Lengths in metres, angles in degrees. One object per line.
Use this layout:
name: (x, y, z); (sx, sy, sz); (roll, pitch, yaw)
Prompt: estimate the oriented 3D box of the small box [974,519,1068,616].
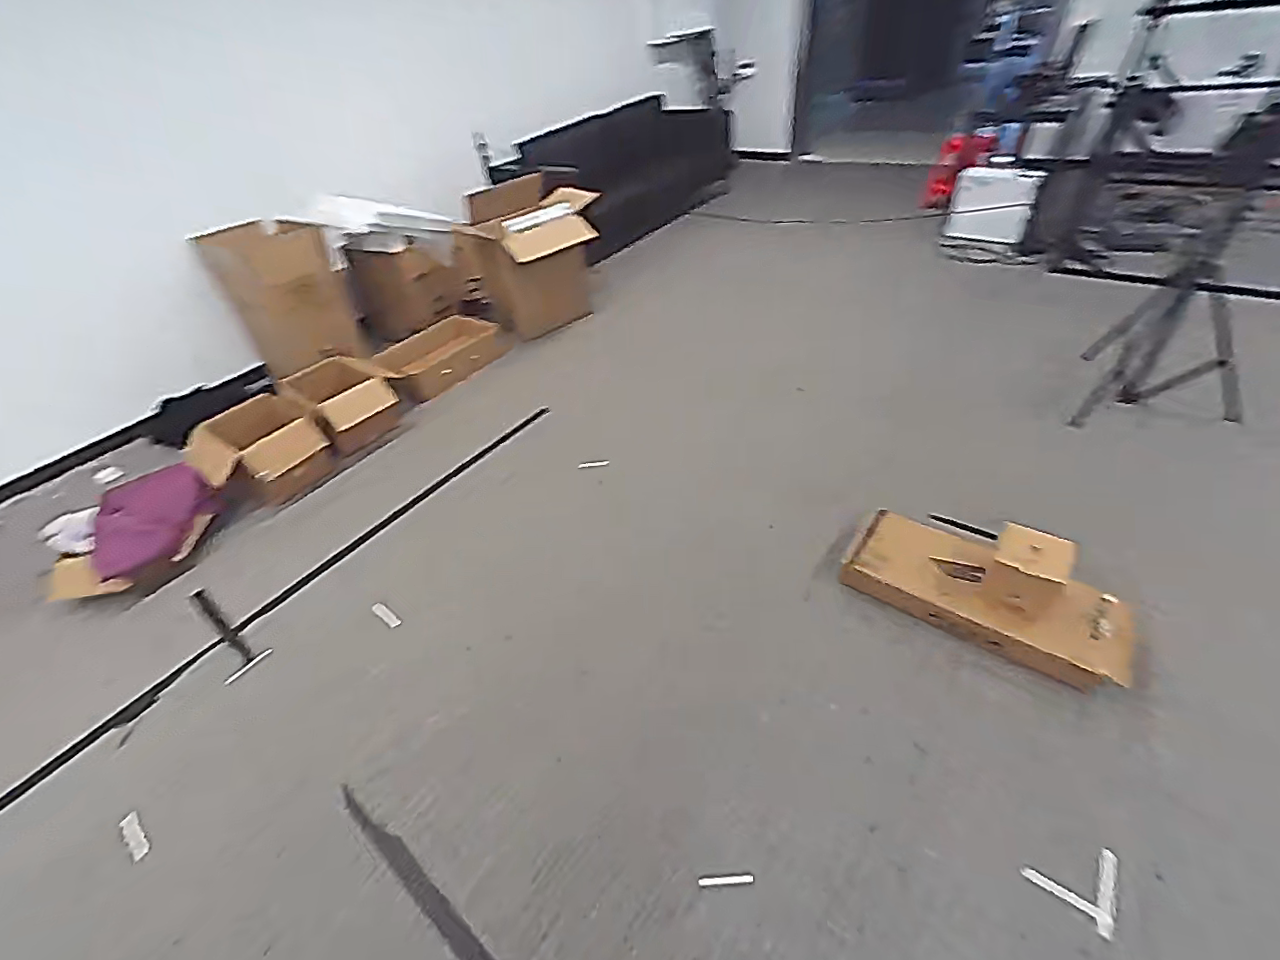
small box: (1.083, 0.249, 1.546); (0.168, 0.176, 0.179); (22, 49, 31)
